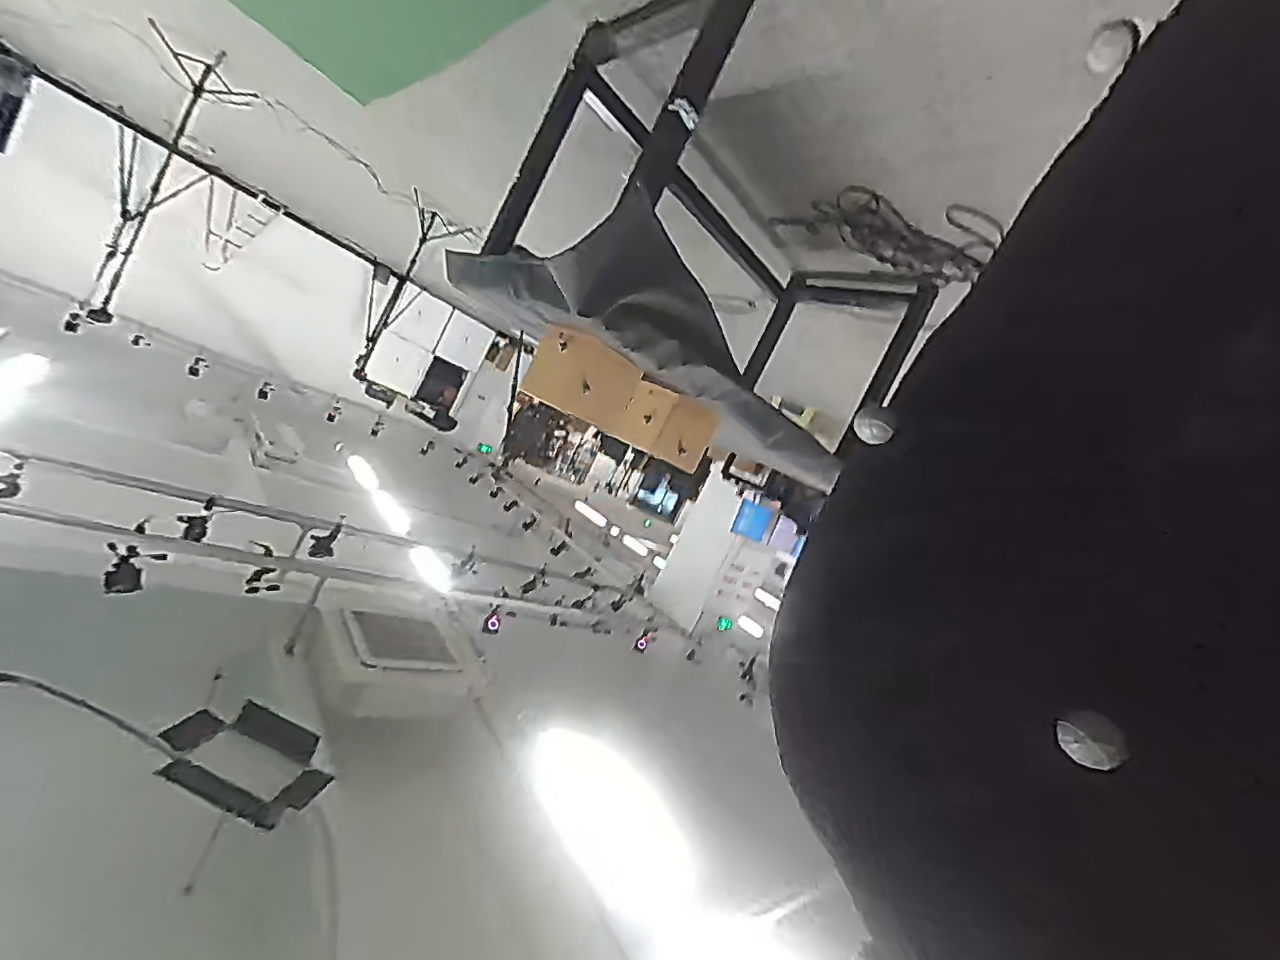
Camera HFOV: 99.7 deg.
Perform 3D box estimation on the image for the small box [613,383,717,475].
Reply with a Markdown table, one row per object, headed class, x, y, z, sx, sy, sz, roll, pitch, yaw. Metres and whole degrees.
| class | x | y | z | sx | sy | sz | roll | pitch | yaw |
| --- | --- | --- | --- | --- | --- | --- | --- | --- | --- |
| small box | 0.066 | -0.137 | 1.411 | 0.179 | 0.176 | 0.168 | 24 | -176 | -42 |
